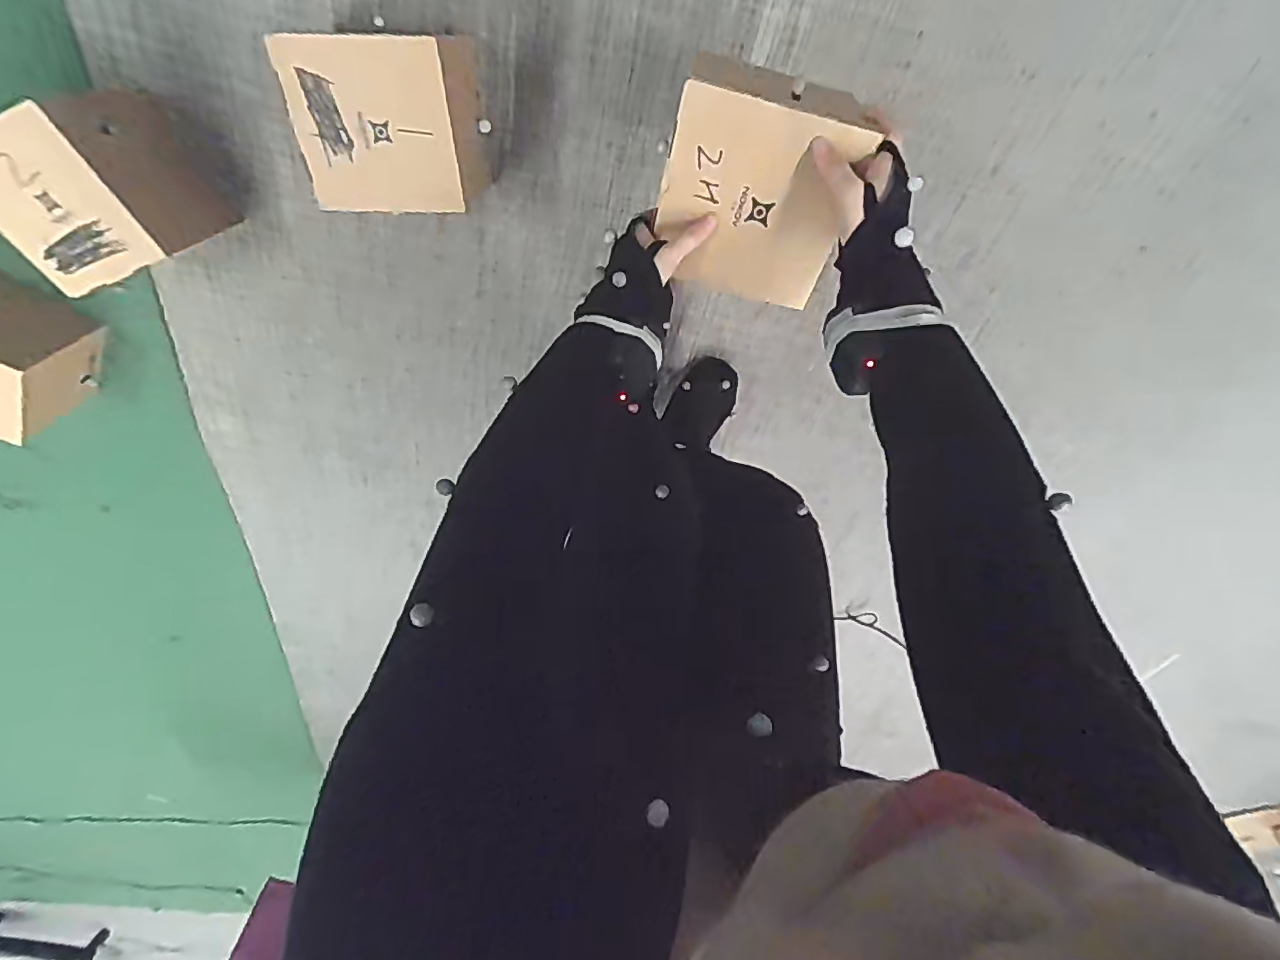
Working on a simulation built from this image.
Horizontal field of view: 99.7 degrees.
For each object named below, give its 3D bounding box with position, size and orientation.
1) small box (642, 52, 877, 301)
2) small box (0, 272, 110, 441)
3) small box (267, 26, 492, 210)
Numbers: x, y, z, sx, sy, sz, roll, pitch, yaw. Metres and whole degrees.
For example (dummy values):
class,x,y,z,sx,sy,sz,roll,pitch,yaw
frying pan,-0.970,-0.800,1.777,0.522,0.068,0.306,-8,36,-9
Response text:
class,x,y,z,sx,sy,sz,roll,pitch,yaw
small box,0.112,-0.319,0.565,0.179,0.176,0.168,14,135,-4
small box,-0.997,-0.199,0.841,0.179,0.176,0.168,30,123,-23
small box,-0.292,-0.437,0.654,0.179,0.176,0.168,0,129,-2
